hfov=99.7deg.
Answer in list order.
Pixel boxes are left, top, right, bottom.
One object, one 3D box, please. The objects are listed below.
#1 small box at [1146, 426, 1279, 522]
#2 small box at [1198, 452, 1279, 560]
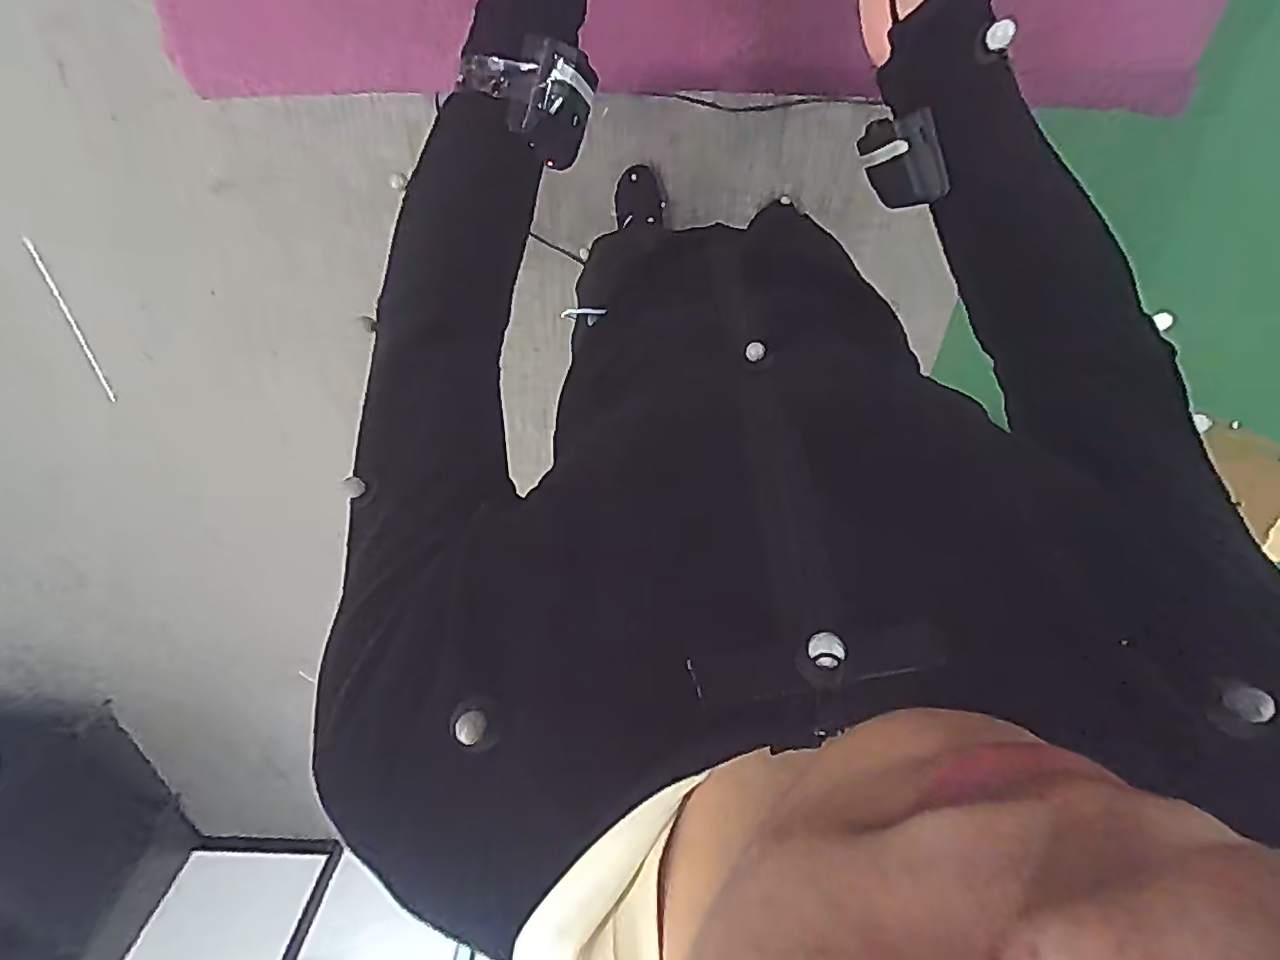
[{"bbox_3d":[1.362,-0.019,1.270,0.168,0.176,0.179,-1,122,3],"label":"small box"},{"bbox_3d":[1.346,0.052,1.123,0.179,0.176,0.168,2,121,2],"label":"small box"}]
